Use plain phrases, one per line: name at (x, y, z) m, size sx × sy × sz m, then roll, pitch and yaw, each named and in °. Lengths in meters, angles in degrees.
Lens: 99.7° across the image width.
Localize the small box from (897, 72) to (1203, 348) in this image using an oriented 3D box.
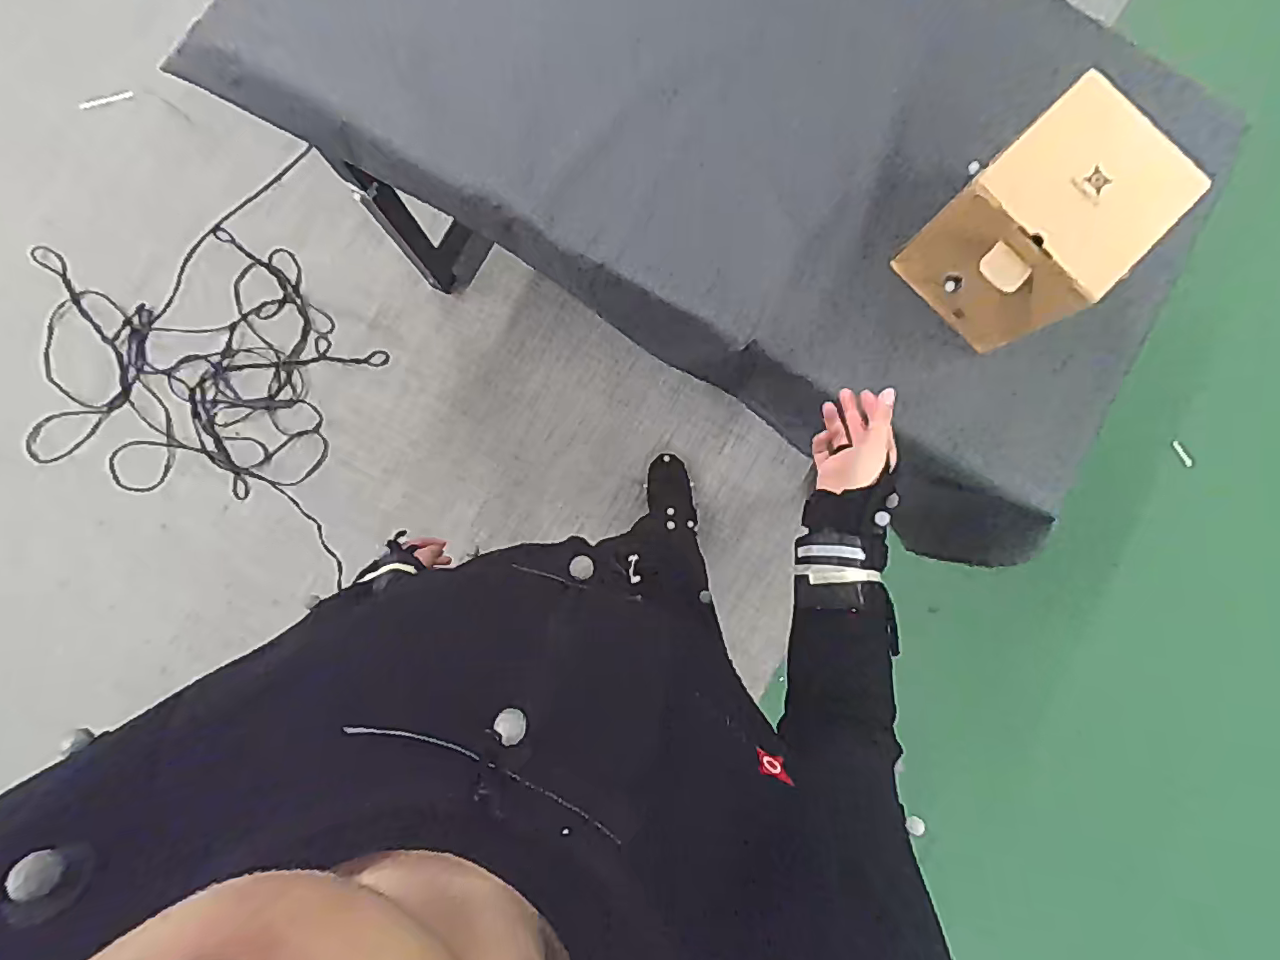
small box at (0.432, -0.280, 0.602) m, size 0.179 × 0.176 × 0.168 m, roll -45°, pitch 89°, yaw -4°
